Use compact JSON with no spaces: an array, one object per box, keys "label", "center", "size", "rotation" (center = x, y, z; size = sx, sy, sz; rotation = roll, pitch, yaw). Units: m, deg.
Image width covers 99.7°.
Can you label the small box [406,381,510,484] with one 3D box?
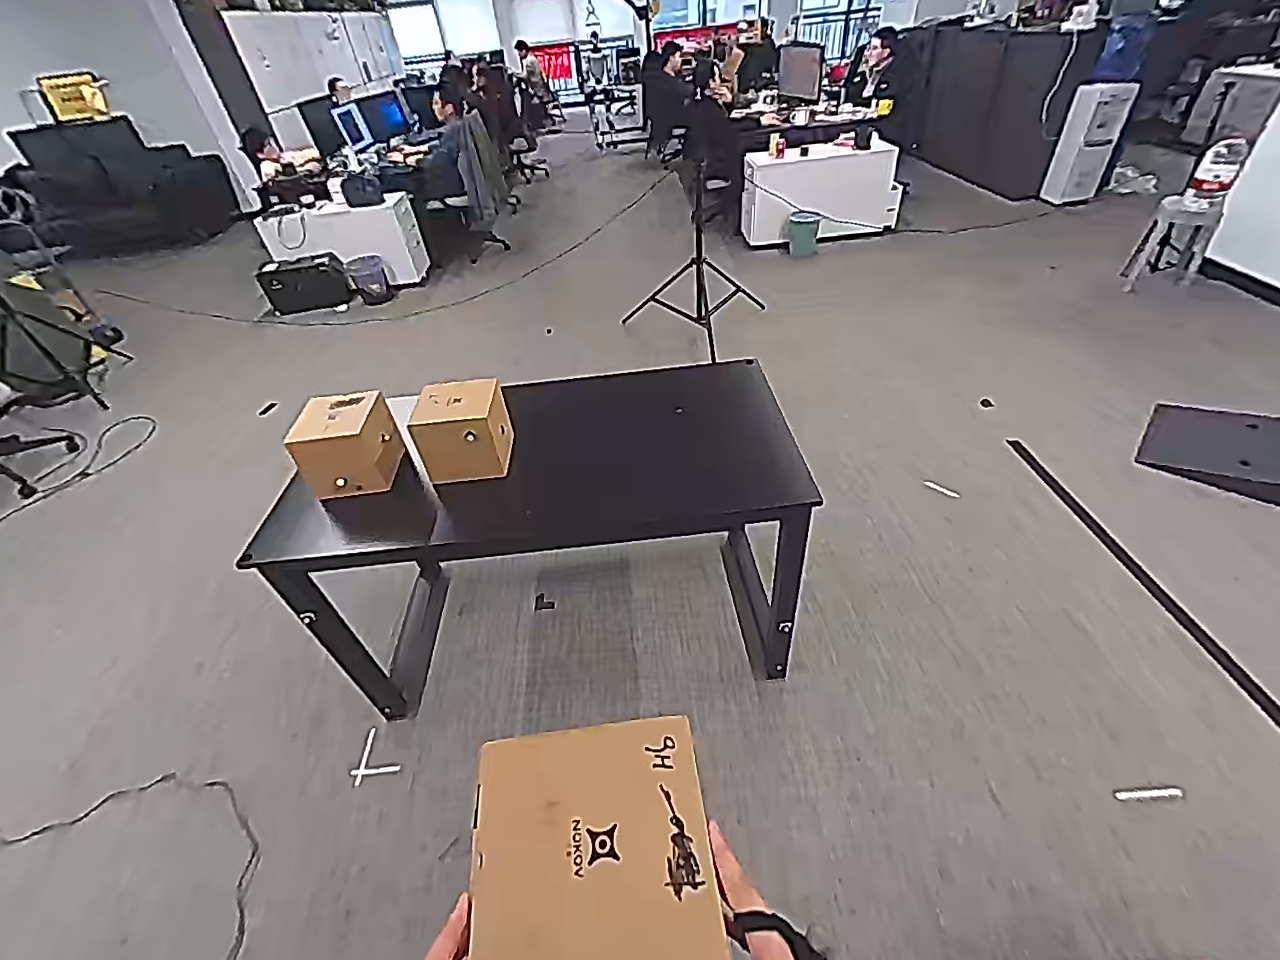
[{"label":"small box","center":[-0.409,-0.110,1.254],"size":[0.179,0.176,0.168],"rotation":[-6,40,0]}]

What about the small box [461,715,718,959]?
[{"label":"small box","center":[-0.037,0.323,0.464],"size":[0.179,0.176,0.168],"rotation":[-7,48,-3]}]

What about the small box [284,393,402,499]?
[{"label":"small box","center":[-0.674,-0.080,1.254],"size":[0.168,0.176,0.179],"rotation":[-8,42,-1]}]
